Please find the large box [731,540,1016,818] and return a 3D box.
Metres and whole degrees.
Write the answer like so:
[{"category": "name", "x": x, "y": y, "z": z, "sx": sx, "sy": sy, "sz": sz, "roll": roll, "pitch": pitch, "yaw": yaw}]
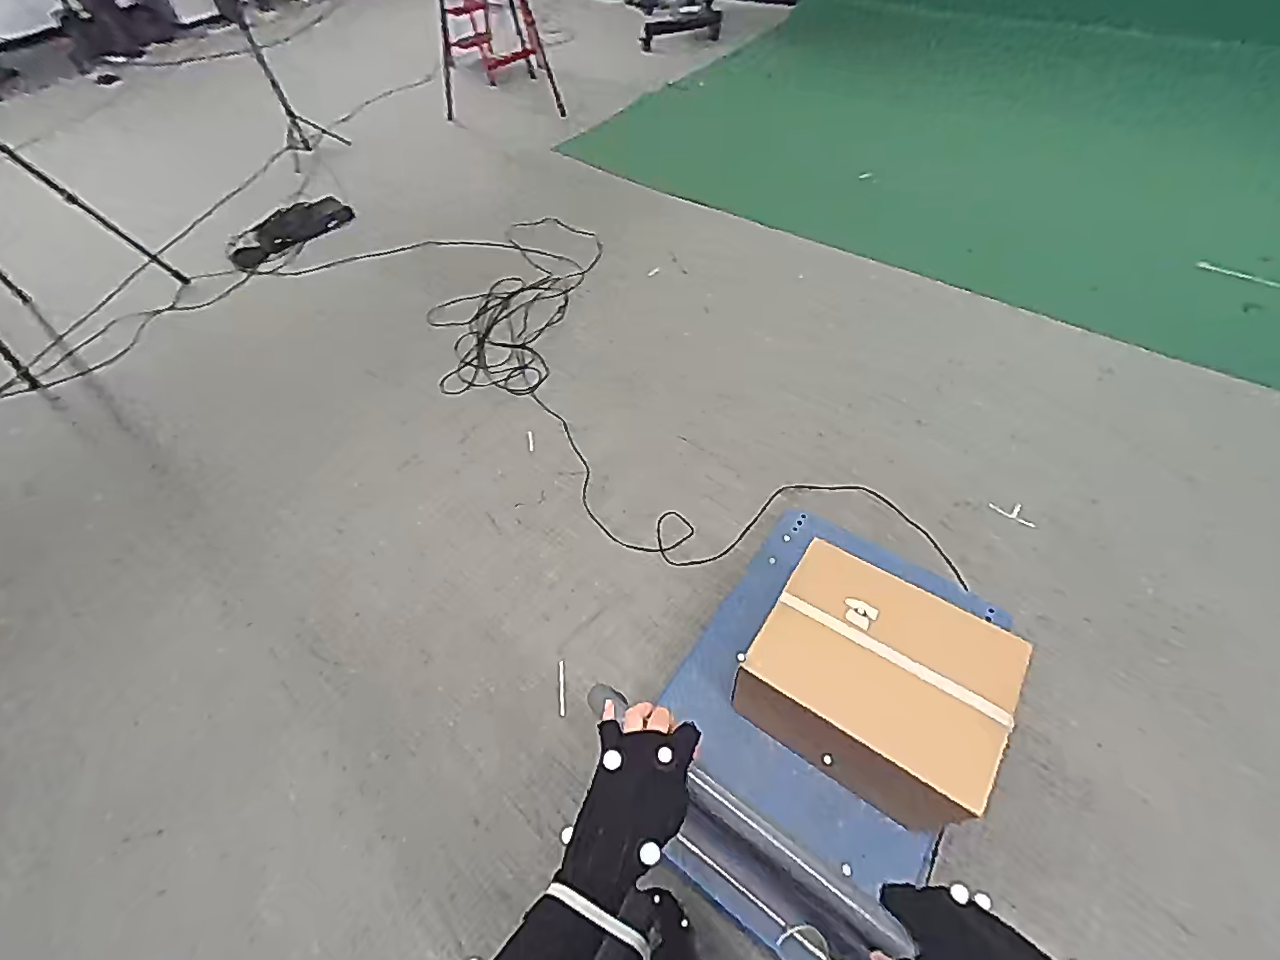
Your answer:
[{"category": "large box", "x": 0.432, "y": 0.394, "z": 1.078, "sx": 0.408, "sy": 0.320, "sz": 0.320, "roll": 27, "pitch": 60, "yaw": 24}]
